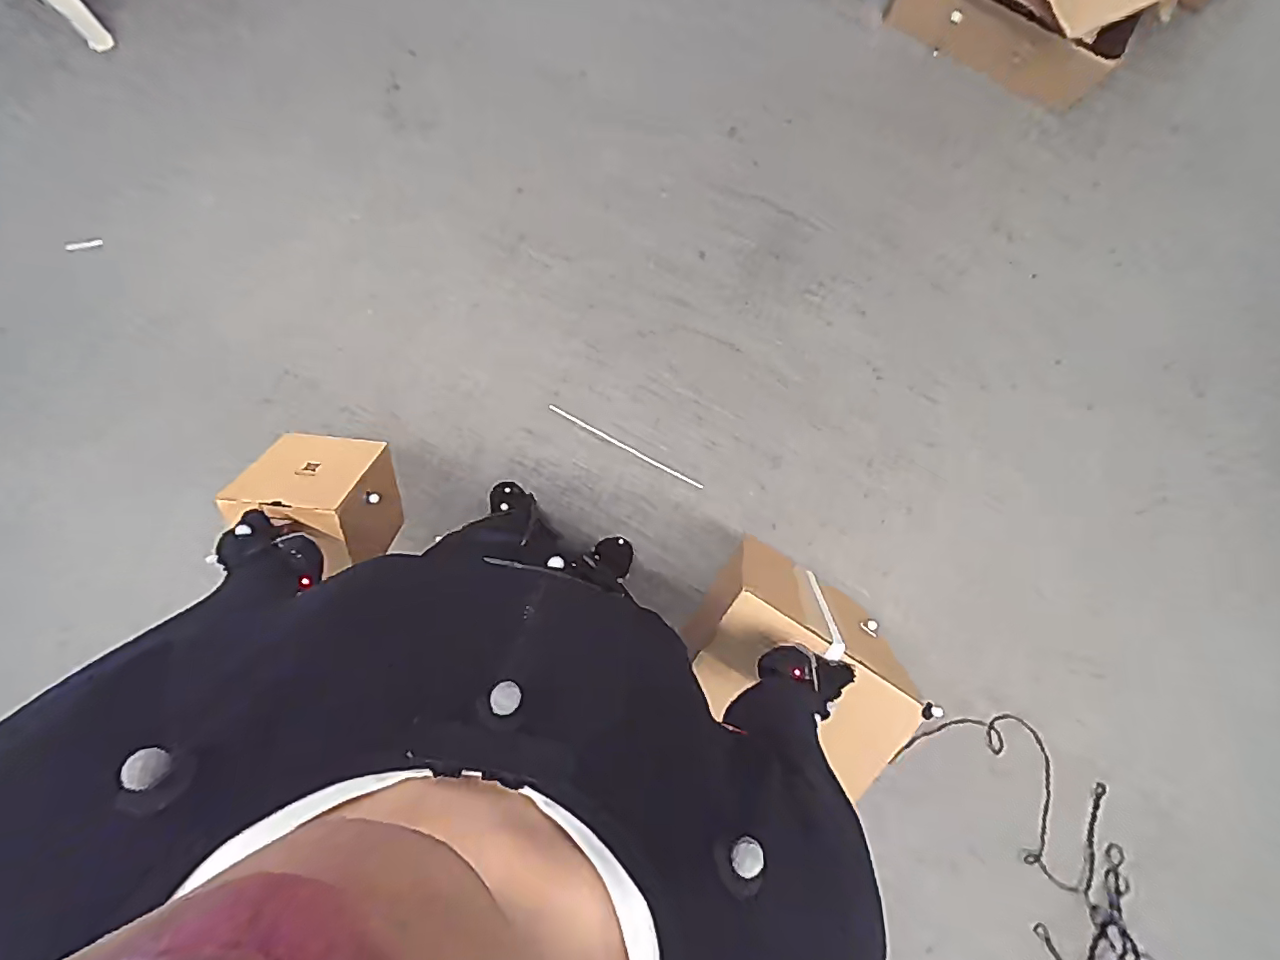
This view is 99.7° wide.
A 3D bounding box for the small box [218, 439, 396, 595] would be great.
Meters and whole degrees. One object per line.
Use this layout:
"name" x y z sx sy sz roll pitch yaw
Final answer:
"small box" -0.504 0.056 0.855 0.168 0.179 0.176 5 125 -1
